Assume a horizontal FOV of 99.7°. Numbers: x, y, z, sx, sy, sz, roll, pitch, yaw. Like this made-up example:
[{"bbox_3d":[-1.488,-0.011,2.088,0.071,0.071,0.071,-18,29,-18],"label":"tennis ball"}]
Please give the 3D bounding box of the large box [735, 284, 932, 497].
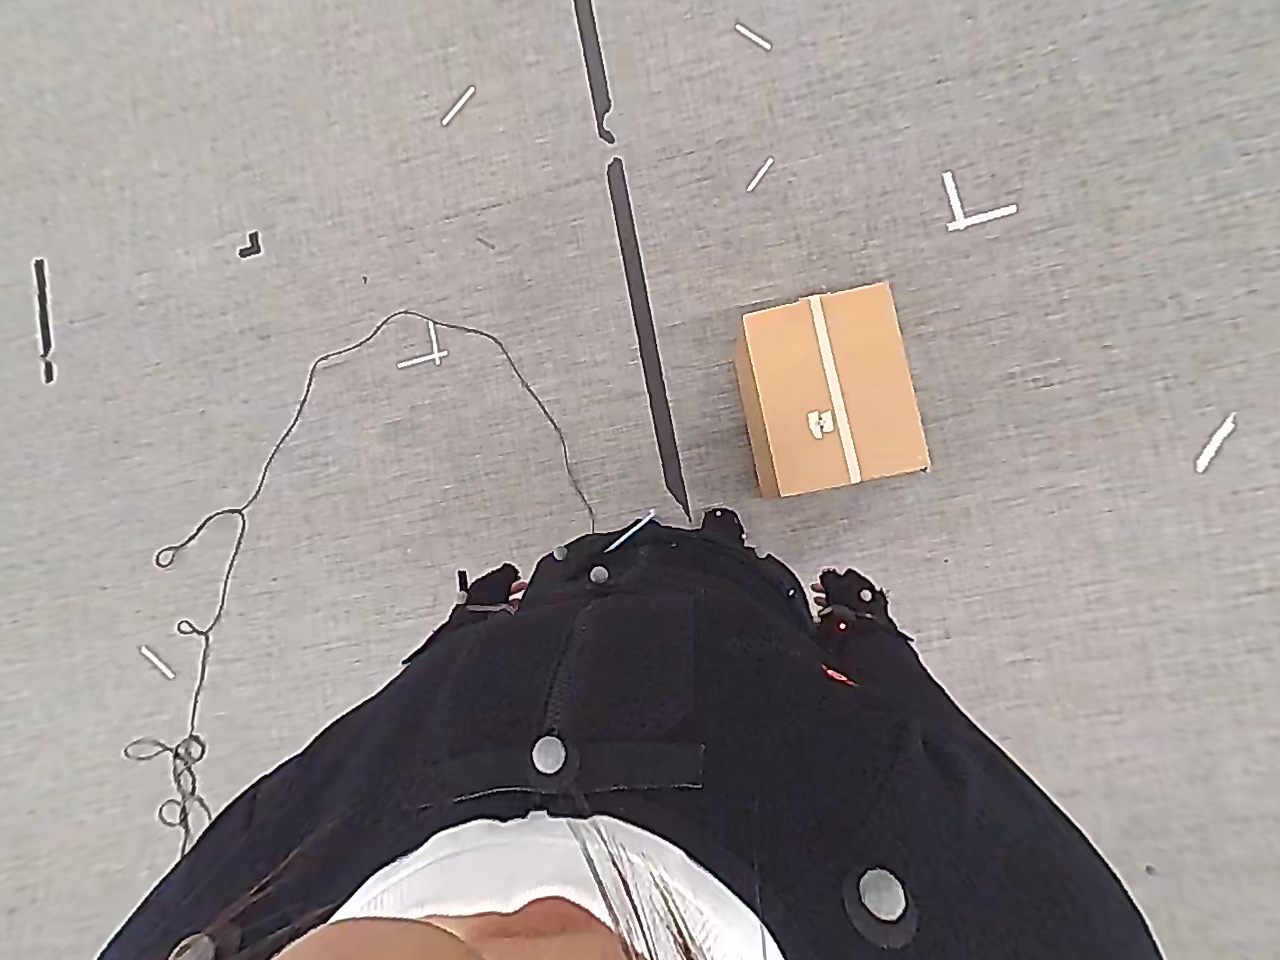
[{"bbox_3d":[0.428,-0.186,1.288,0.320,0.320,0.408,-12,87,6],"label":"large box"}]
